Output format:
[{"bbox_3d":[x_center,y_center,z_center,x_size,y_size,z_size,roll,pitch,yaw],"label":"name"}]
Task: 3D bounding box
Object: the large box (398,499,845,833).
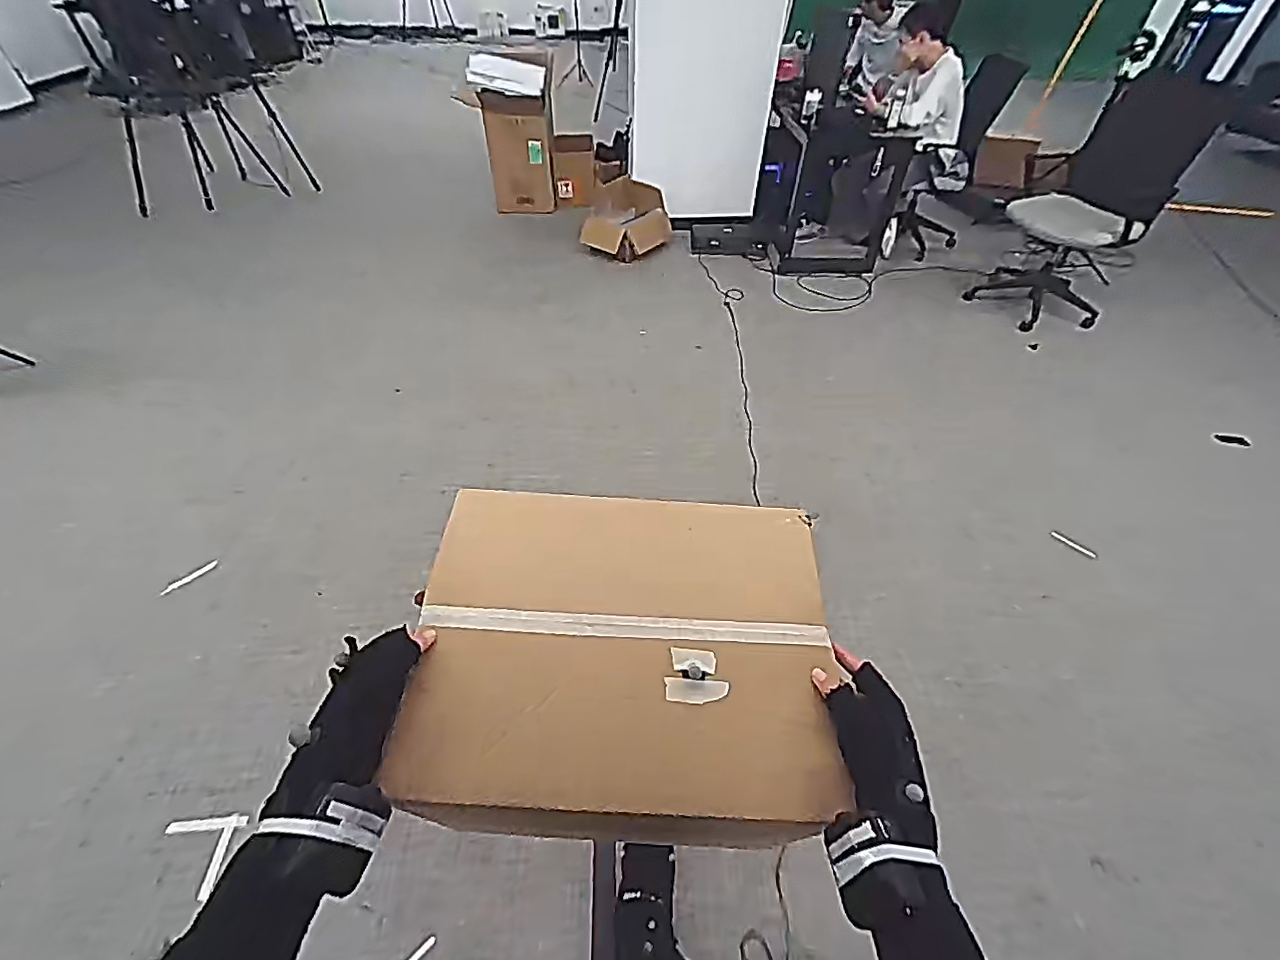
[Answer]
[{"bbox_3d":[-0.020,0.244,0.678,0.408,0.320,0.320,4,53,-1],"label":"large box"}]
